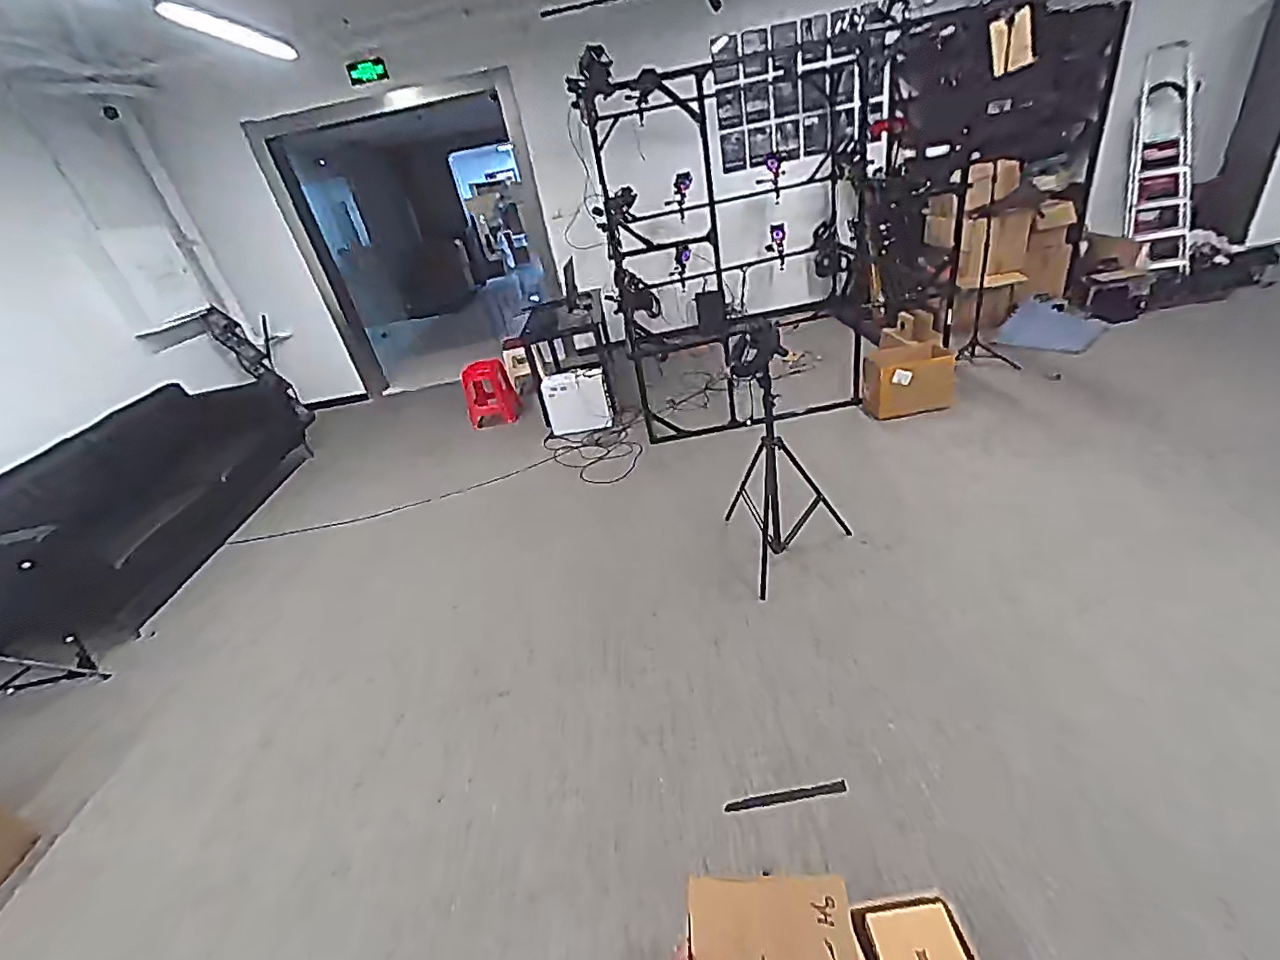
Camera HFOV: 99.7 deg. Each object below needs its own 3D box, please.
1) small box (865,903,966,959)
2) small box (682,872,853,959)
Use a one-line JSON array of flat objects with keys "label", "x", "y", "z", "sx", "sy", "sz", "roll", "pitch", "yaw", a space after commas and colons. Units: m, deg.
[{"label": "small box", "x": 0.579, "y": 1.026, "z": 1.122, "sx": 0.168, "sy": 0.176, "sz": 0.179, "roll": -12, "pitch": 33, "yaw": 3}, {"label": "small box", "x": 0.150, "y": 0.553, "z": 0.618, "sx": 0.179, "sy": 0.176, "sz": 0.168, "roll": -8, "pitch": 54, "yaw": 11}]
